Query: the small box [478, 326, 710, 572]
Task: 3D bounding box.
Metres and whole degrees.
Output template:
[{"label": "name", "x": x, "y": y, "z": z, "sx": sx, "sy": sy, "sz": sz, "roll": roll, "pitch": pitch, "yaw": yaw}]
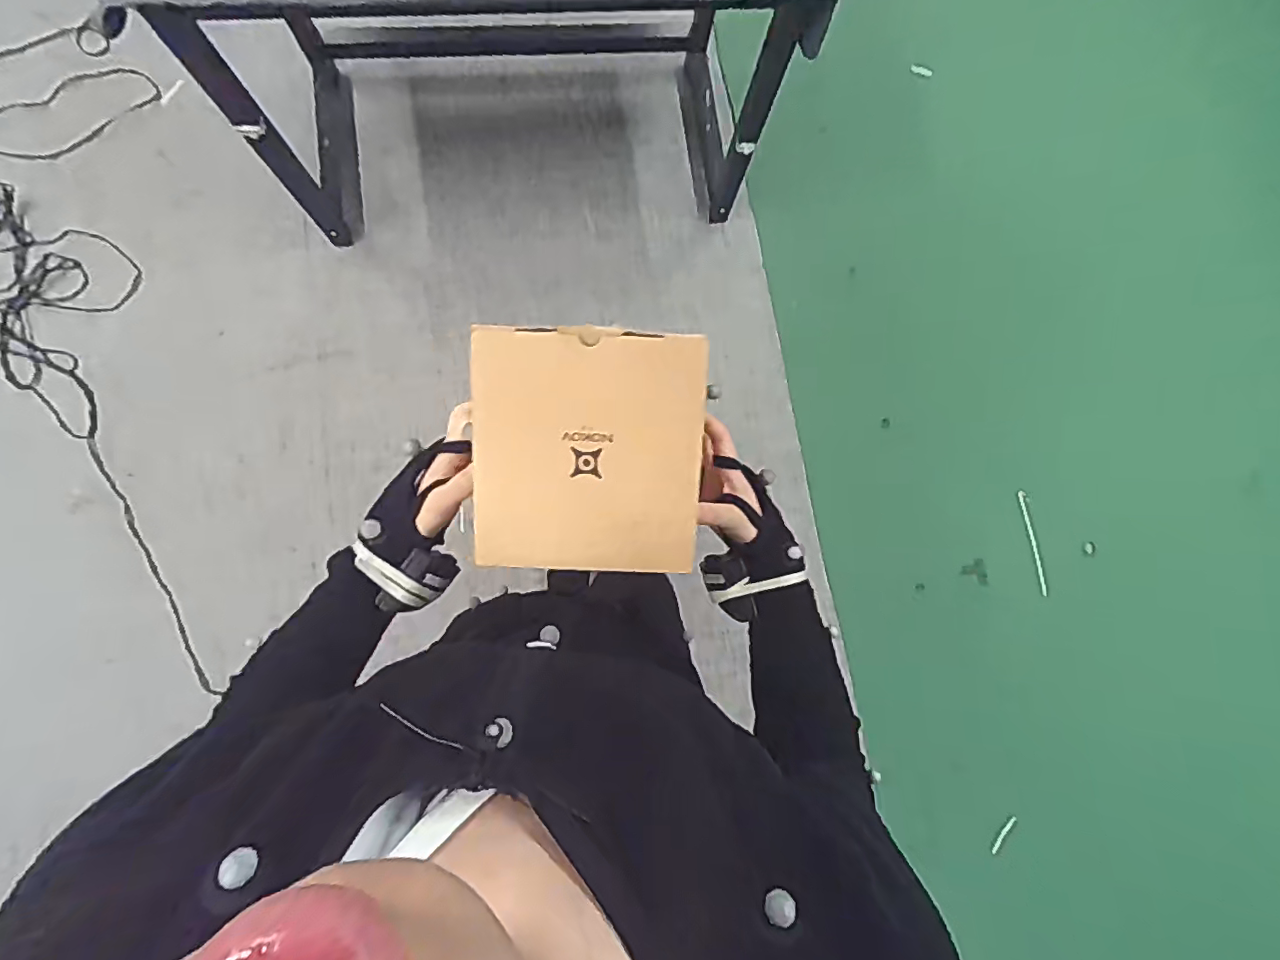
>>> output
[{"label": "small box", "x": -0.035, "y": -0.035, "z": 0.471, "sx": 0.168, "sy": 0.176, "sz": 0.179, "roll": 2, "pitch": 102, "yaw": -1}]
